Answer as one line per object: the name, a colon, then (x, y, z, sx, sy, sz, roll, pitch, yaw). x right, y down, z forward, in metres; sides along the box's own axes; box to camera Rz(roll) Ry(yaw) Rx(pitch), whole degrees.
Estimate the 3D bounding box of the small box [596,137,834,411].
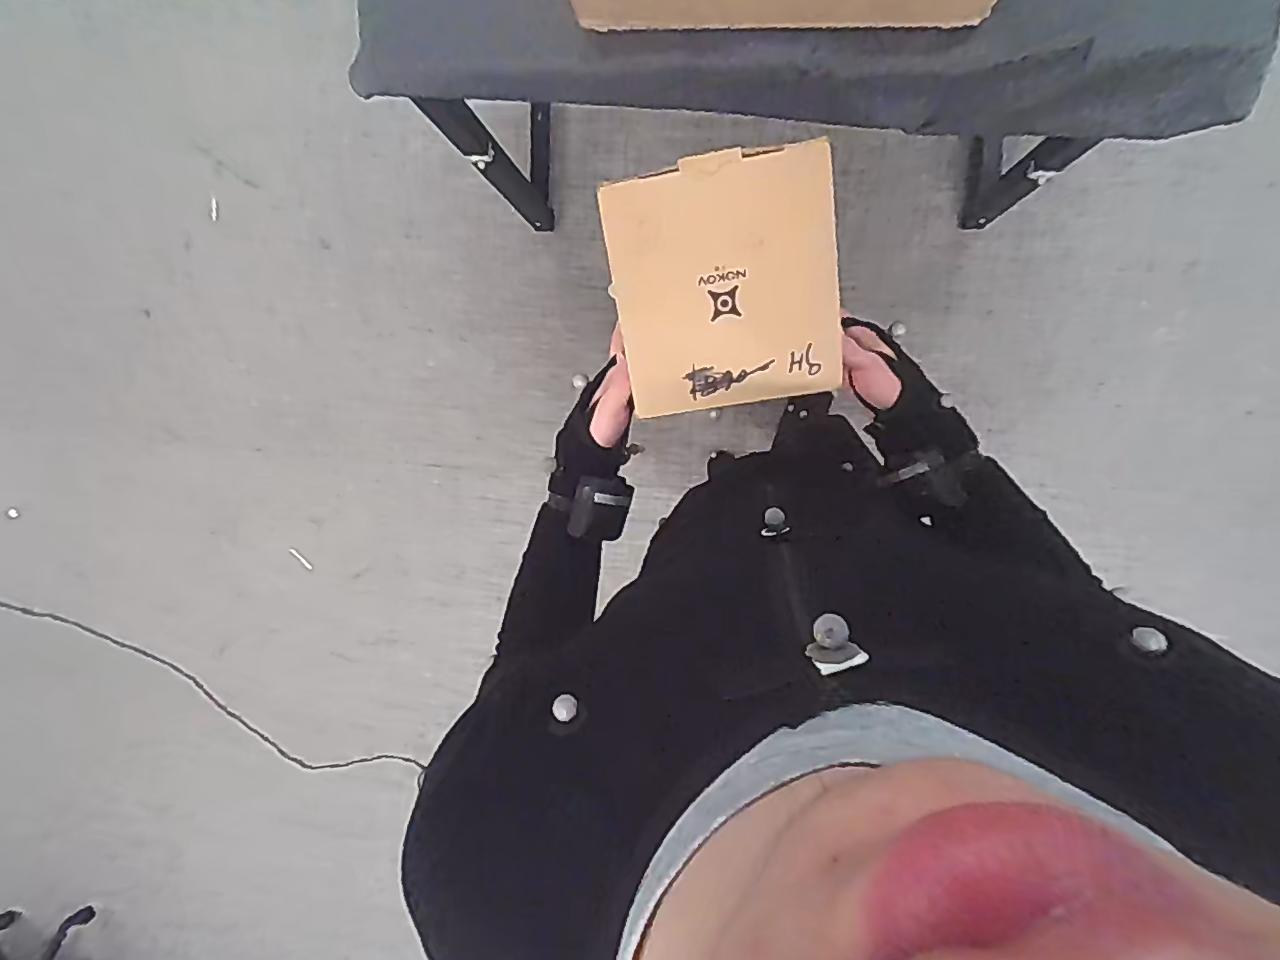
small box: (0.066, -0.170, 0.480, 0.168, 0.176, 0.179, -7, 108, 8)
